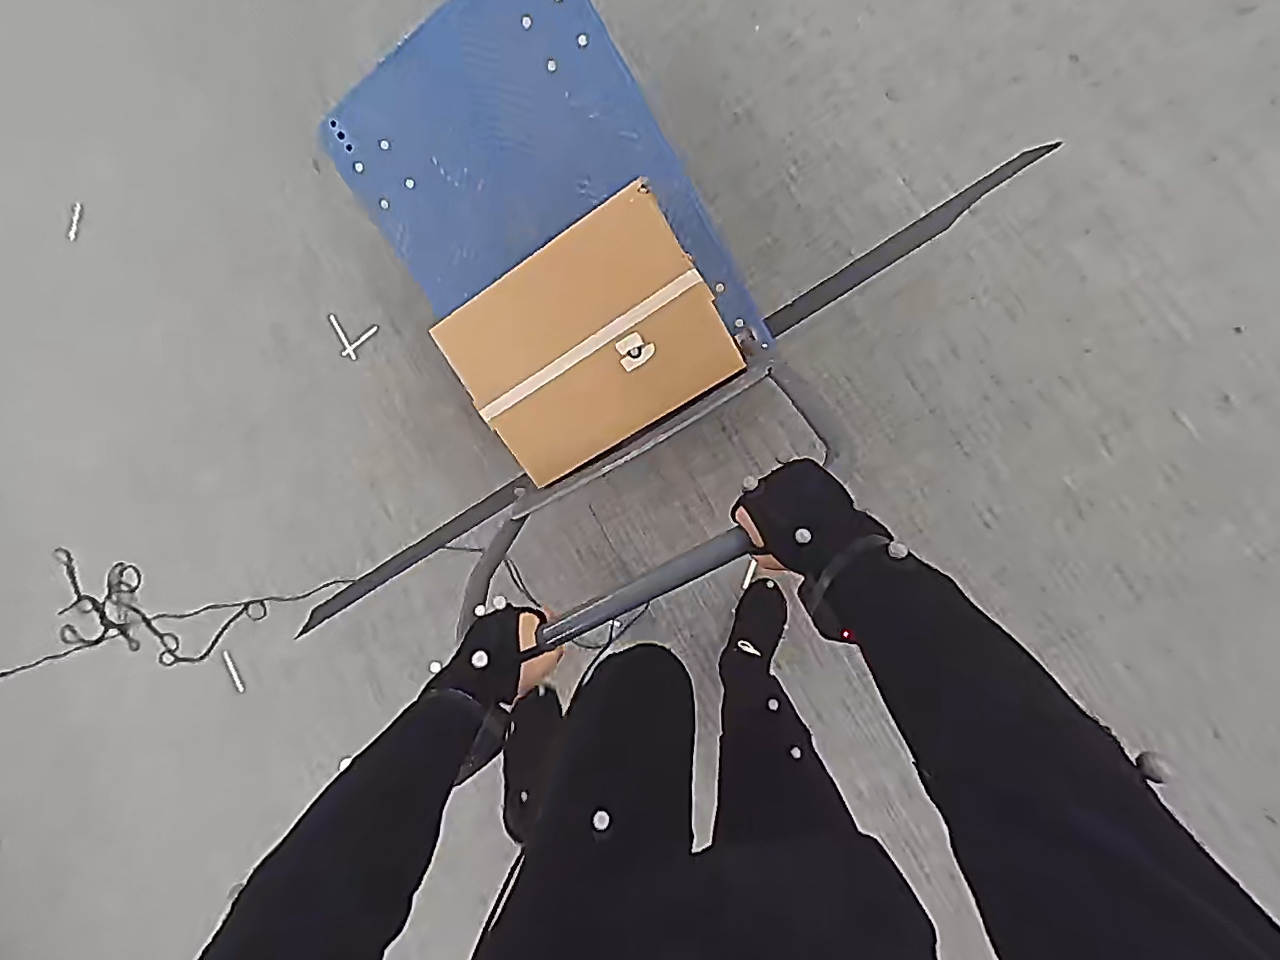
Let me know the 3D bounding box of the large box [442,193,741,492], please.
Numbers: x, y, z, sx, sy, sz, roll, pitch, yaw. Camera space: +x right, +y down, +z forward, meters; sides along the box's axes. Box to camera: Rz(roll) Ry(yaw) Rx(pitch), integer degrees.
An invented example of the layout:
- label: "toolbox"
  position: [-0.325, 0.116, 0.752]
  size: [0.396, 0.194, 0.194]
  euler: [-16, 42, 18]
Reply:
- label: "large box"
  position: [-0.071, -0.241, 1.009]
  size: [0.408, 0.320, 0.320]
  euler: [-31, 103, 13]
